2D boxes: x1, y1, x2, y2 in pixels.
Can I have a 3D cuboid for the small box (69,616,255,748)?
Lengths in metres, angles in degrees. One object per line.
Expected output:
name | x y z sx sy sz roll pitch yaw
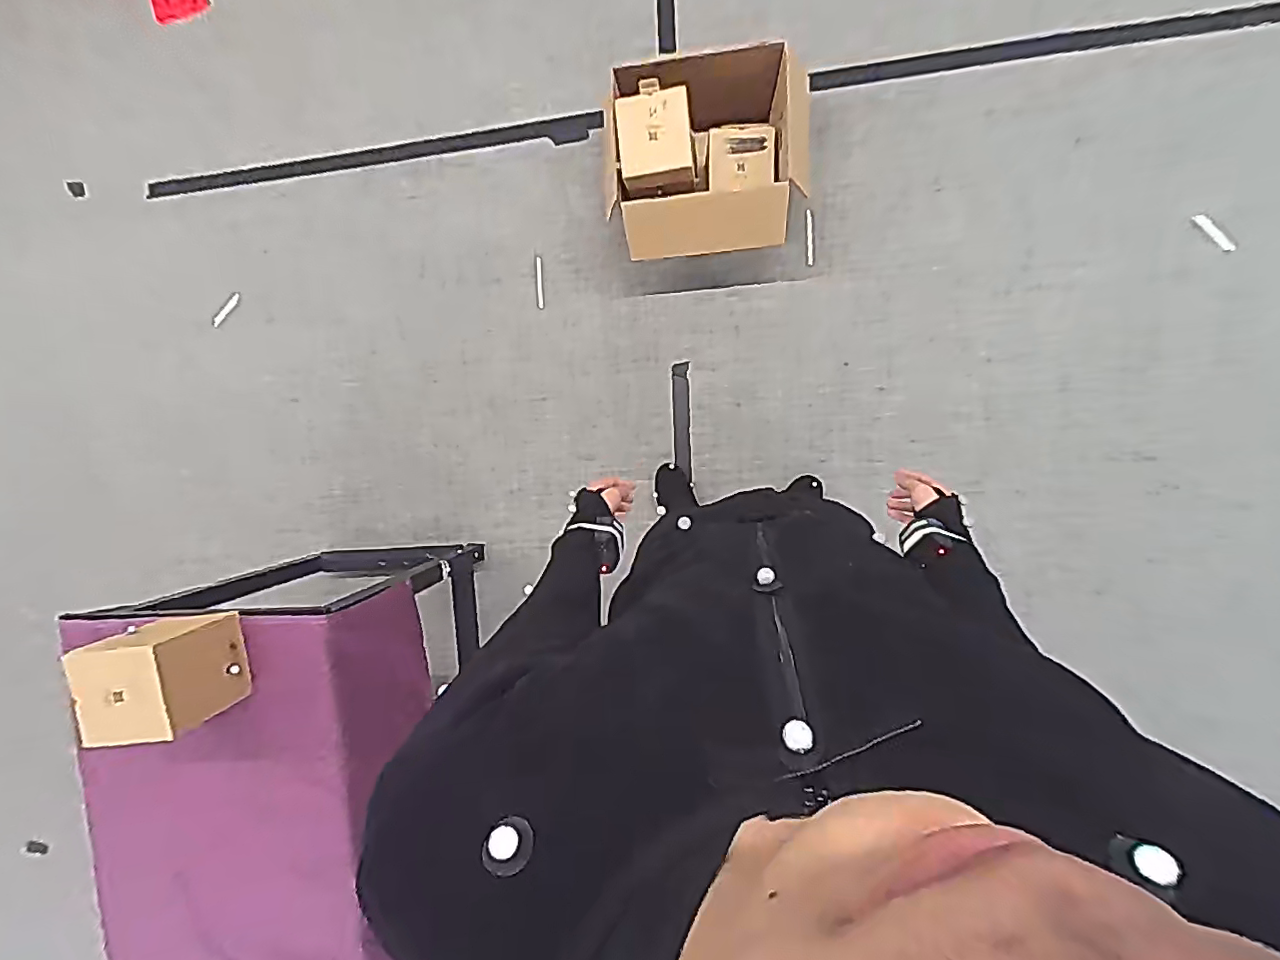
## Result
small box | -0.849 0.356 0.974 0.179 0.176 0.168 -8 95 9

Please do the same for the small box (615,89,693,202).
small box | 0.039 -0.796 1.311 0.168 0.176 0.179 -4 94 8
